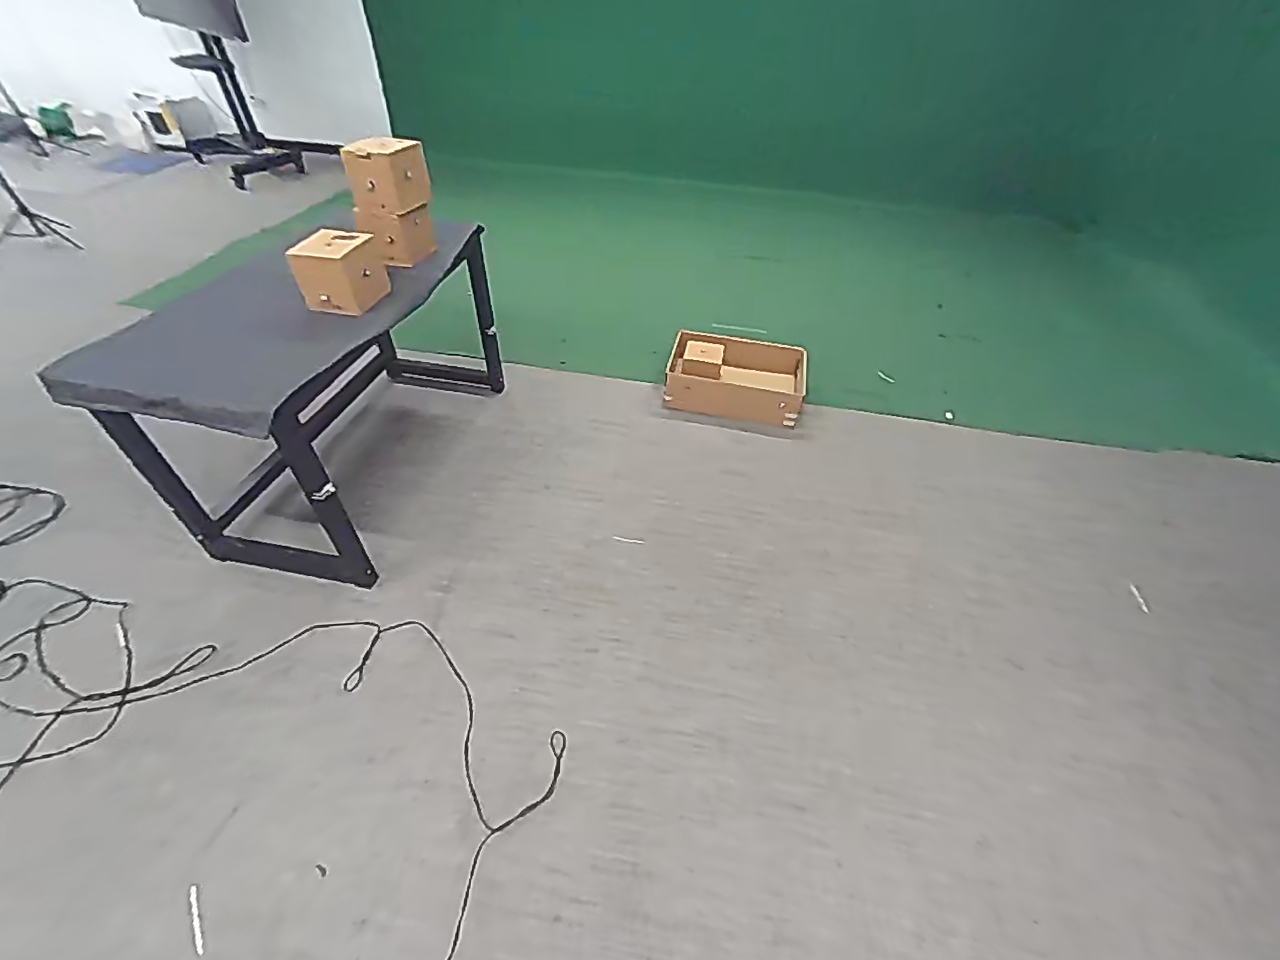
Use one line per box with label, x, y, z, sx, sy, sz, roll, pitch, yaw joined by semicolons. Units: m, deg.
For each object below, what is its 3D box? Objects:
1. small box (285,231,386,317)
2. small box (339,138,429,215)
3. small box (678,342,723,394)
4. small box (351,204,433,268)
small box;-0.854;-0.589;1.545;0.168;0.176;0.179;9;46;8
small box;-0.784;-0.944;1.682;0.168;0.176;0.179;14;45;11
small box;0.279;-0.519;2.519;0.179;0.176;0.168;11;46;6
small box;-0.809;-0.821;1.789;0.168;0.176;0.179;12;44;8
